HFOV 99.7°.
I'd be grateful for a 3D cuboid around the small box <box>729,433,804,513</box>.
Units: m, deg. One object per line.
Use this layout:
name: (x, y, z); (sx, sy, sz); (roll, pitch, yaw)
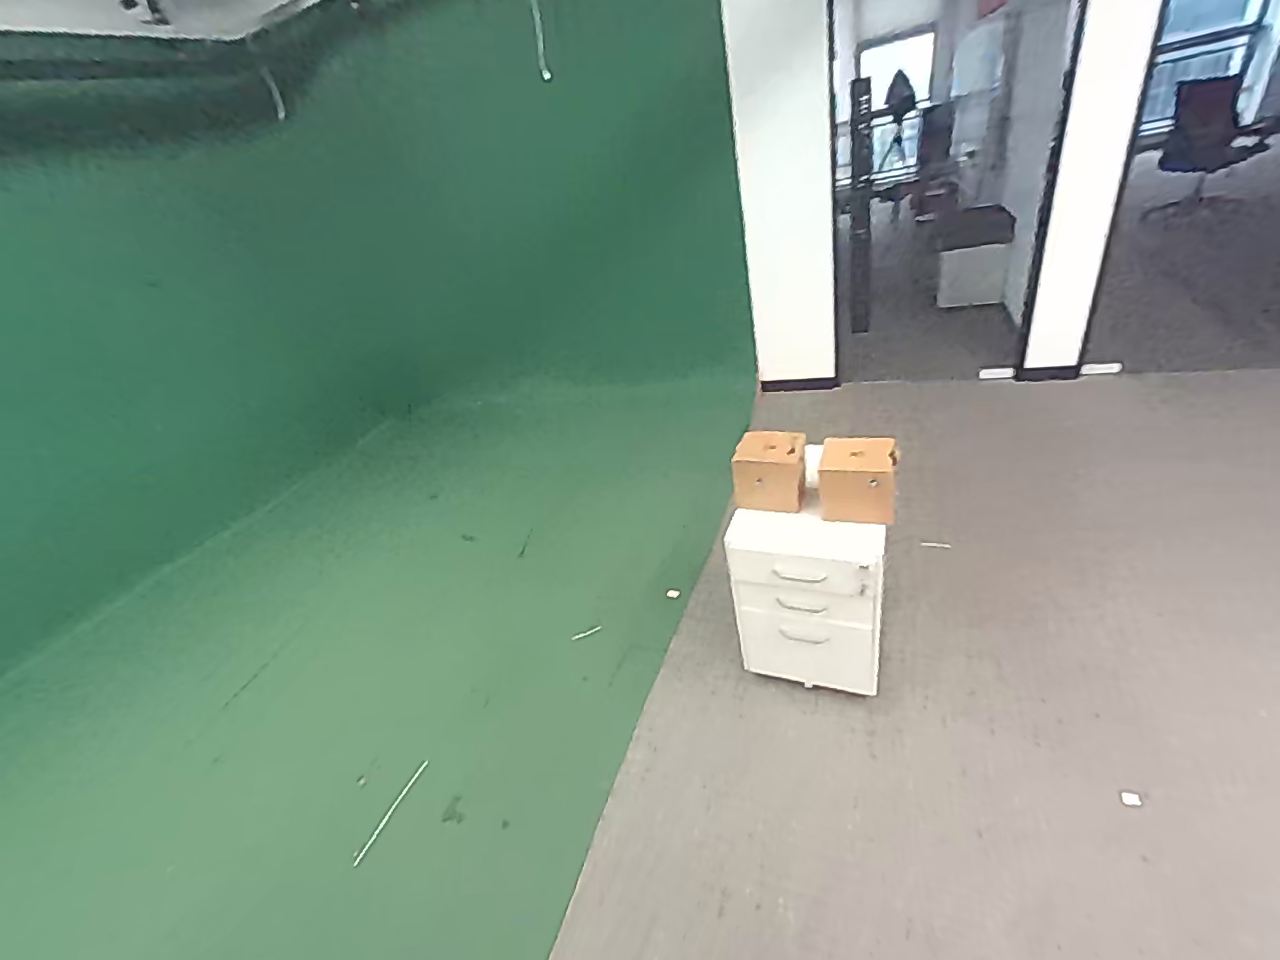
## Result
small box: (0.366, -0.021, 1.546); (0.179, 0.176, 0.168); (4, 36, 25)
